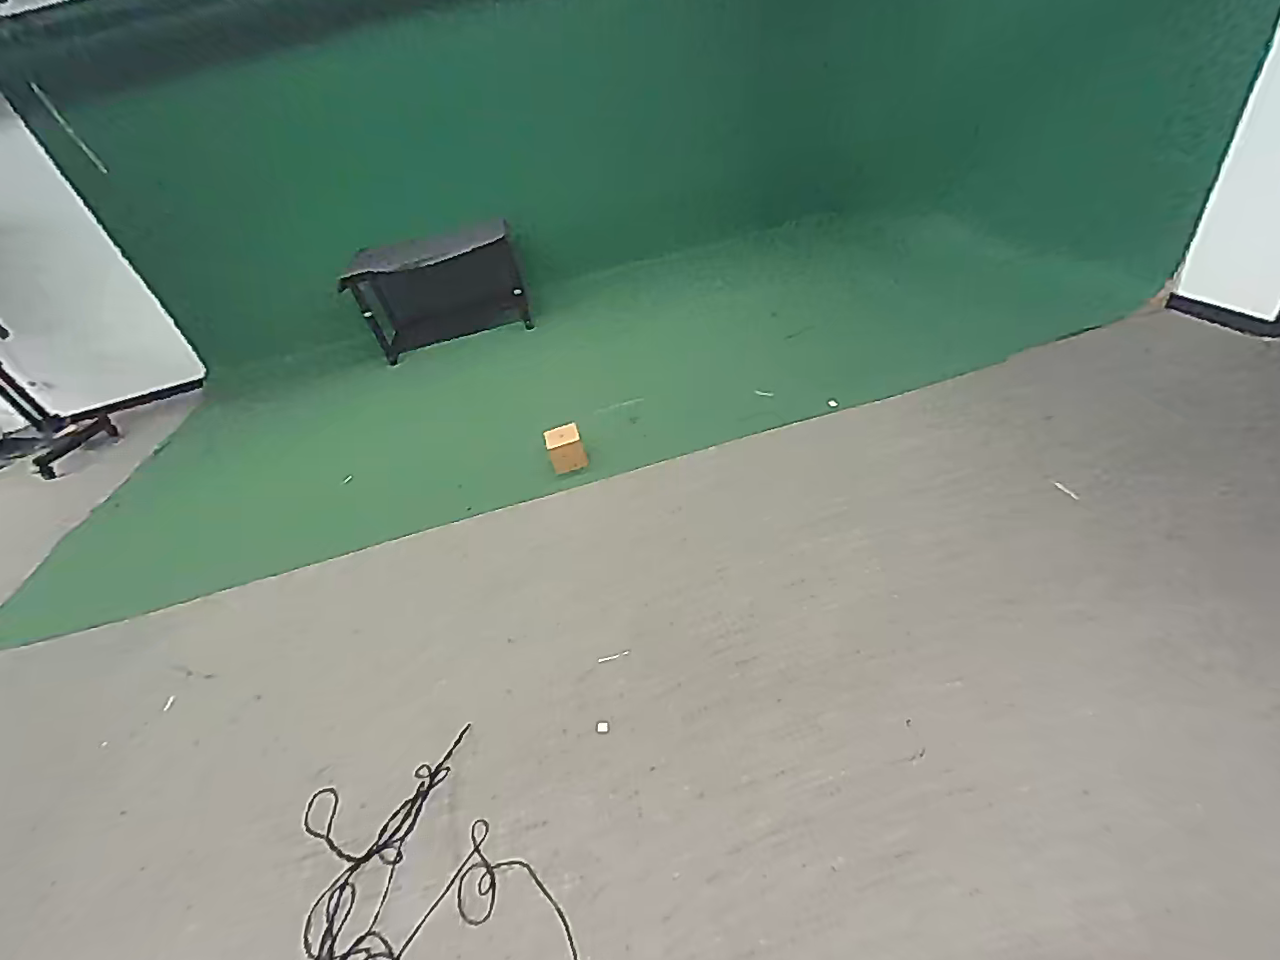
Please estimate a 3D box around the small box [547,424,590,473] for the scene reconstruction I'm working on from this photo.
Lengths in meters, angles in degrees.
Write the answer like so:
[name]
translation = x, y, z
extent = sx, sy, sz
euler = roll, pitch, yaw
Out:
[small box]
translation = -0.360, -0.151, 2.738
extent = 0.168, 0.176, 0.179
euler = -18, 37, -4
